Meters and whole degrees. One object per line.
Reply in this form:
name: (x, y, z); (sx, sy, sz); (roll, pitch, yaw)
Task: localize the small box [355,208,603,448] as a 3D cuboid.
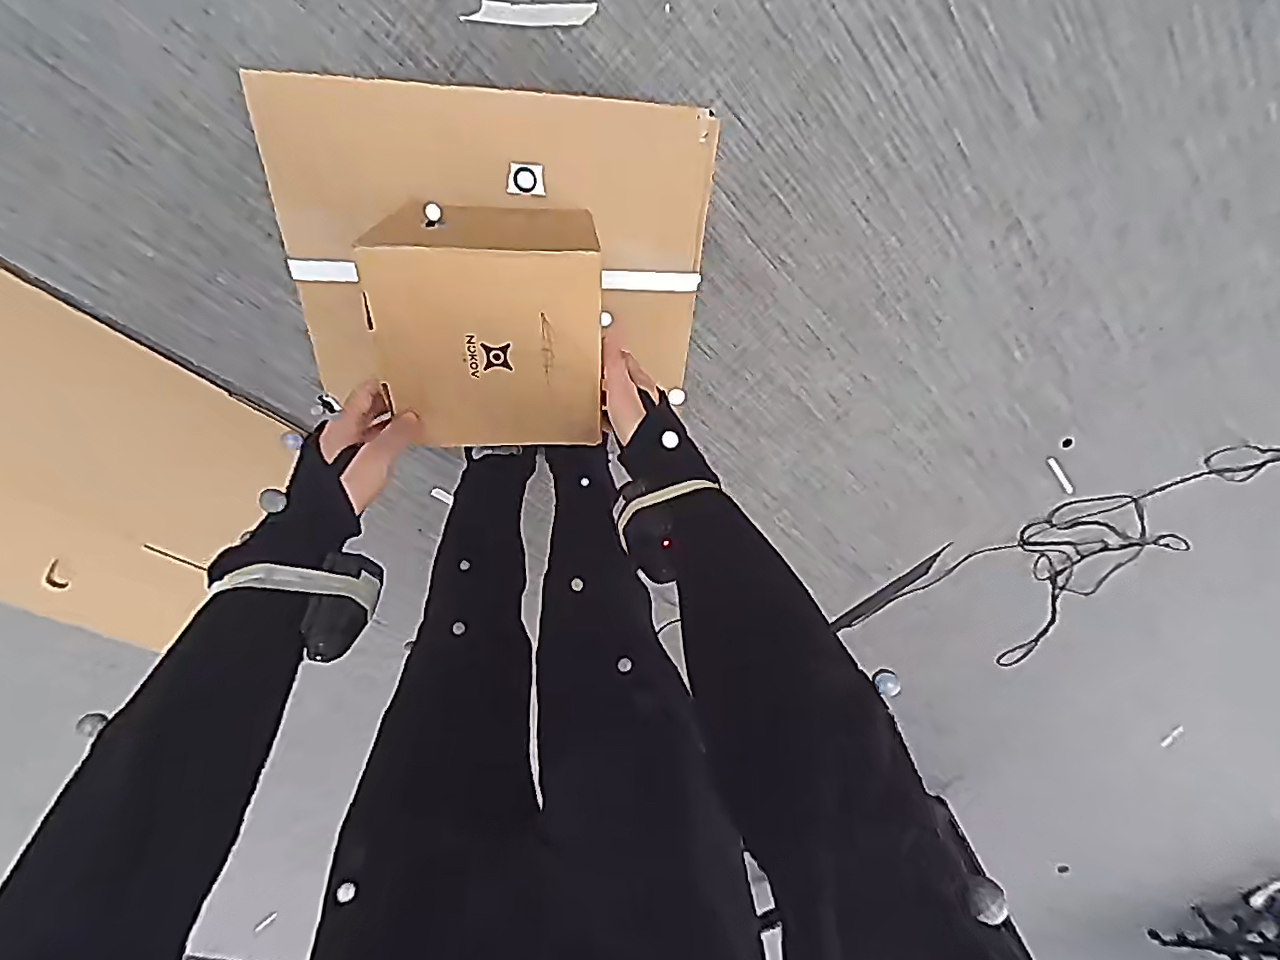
small box: (-0.125, -0.143, 0.493); (0.179, 0.176, 0.168); (-3, 126, -7)
